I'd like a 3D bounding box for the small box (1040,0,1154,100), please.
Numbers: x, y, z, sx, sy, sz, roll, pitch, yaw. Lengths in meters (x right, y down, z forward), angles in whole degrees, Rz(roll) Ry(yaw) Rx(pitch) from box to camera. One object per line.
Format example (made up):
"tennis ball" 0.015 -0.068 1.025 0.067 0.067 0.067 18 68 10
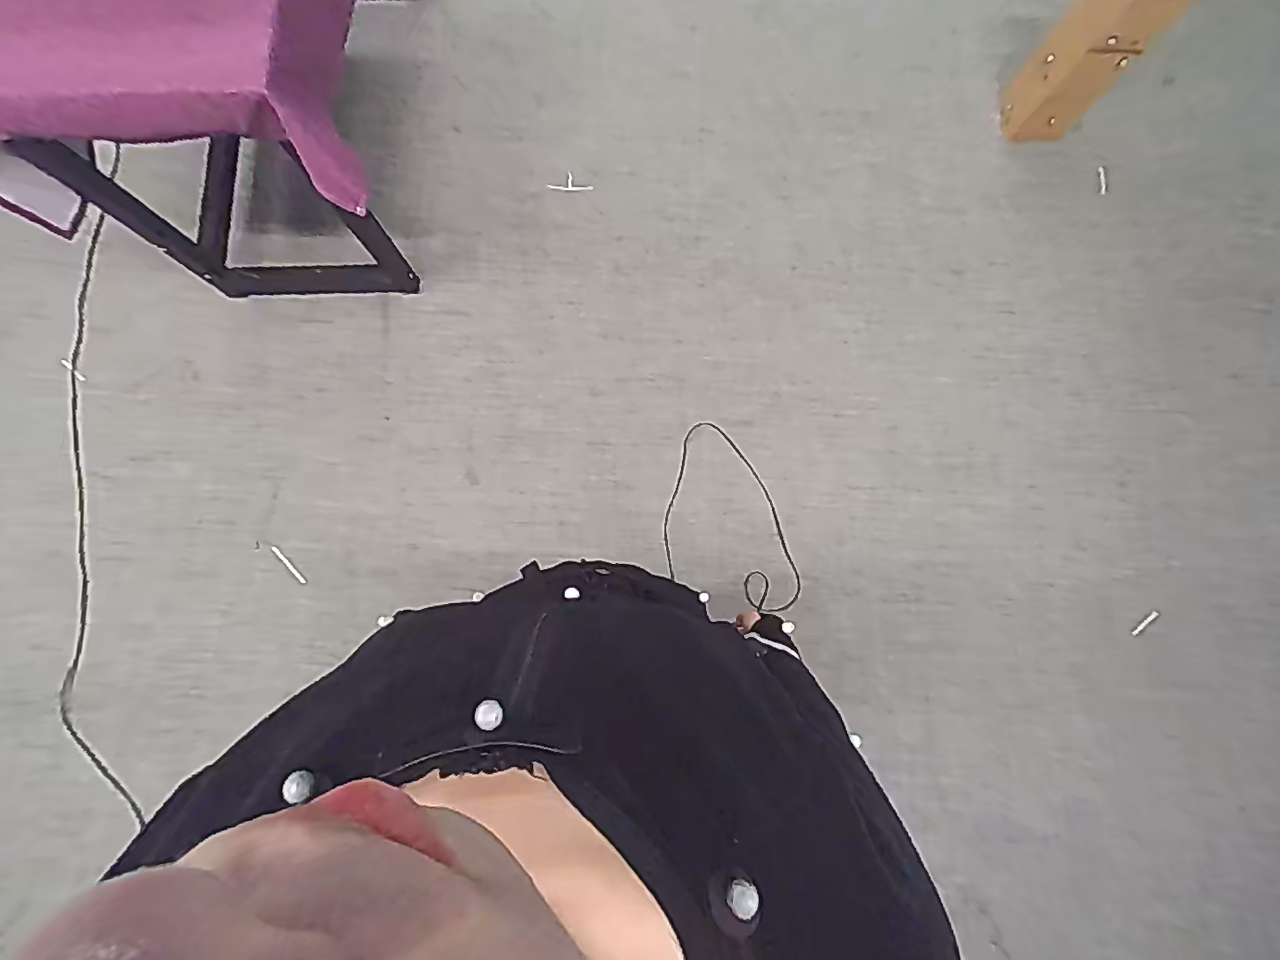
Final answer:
"small box" 1.309 -1.234 1.560 0.179 0.176 0.168 -2 80 0

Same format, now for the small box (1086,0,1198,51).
"small box" 1.307 -1.255 1.396 0.168 0.176 0.179 0 80 -1
